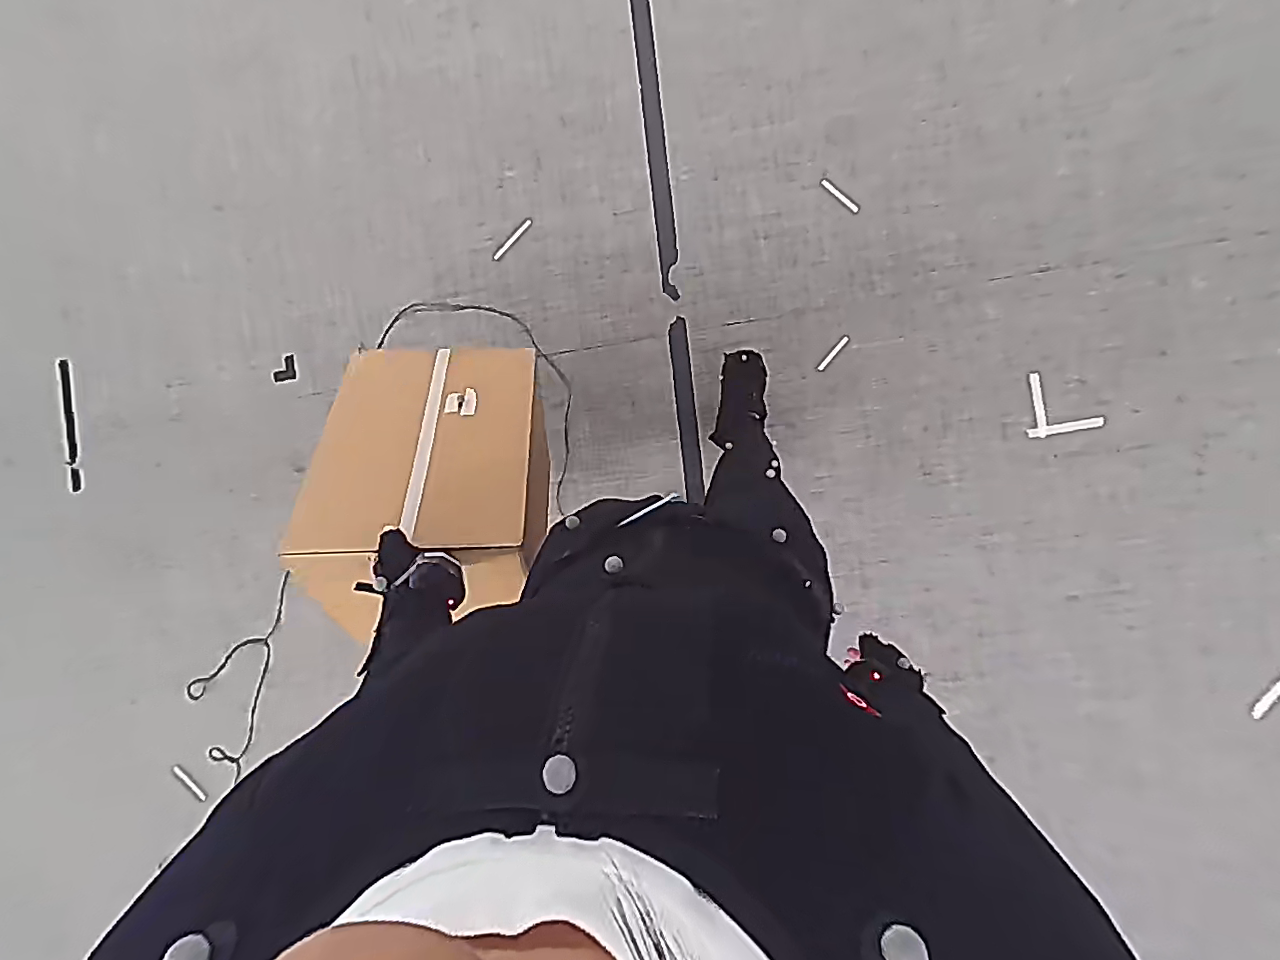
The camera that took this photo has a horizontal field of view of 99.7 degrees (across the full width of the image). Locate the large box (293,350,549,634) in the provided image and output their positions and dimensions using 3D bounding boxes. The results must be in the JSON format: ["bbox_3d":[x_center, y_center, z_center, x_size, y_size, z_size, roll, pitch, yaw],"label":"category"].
[{"bbox_3d":[-0.332,0.021,0.961,0.320,0.320,0.408,-1,53,-5],"label":"large box"}]
